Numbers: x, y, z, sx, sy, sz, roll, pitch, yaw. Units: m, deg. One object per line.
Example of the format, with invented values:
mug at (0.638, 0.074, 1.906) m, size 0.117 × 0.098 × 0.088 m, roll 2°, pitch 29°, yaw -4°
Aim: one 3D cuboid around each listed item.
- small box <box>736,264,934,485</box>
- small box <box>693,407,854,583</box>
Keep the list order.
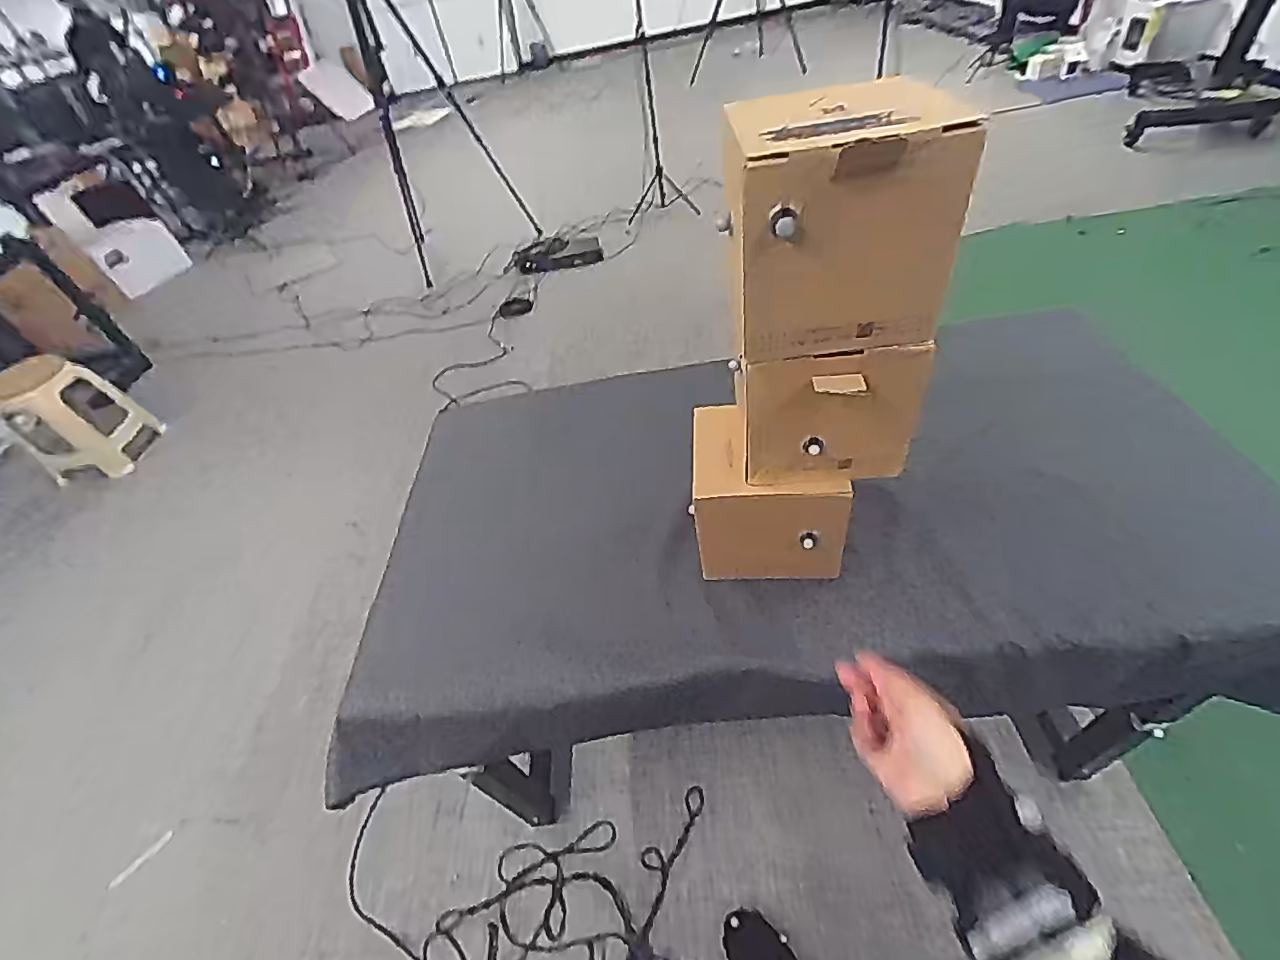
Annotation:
small box at (0.194, -0.115, 0.600) m, size 0.168 × 0.176 × 0.179 m, roll -4°, pitch 46°, yaw 8°
small box at (0.164, 0.020, 0.703) m, size 0.179 × 0.176 × 0.168 m, roll -4°, pitch 45°, yaw 10°
